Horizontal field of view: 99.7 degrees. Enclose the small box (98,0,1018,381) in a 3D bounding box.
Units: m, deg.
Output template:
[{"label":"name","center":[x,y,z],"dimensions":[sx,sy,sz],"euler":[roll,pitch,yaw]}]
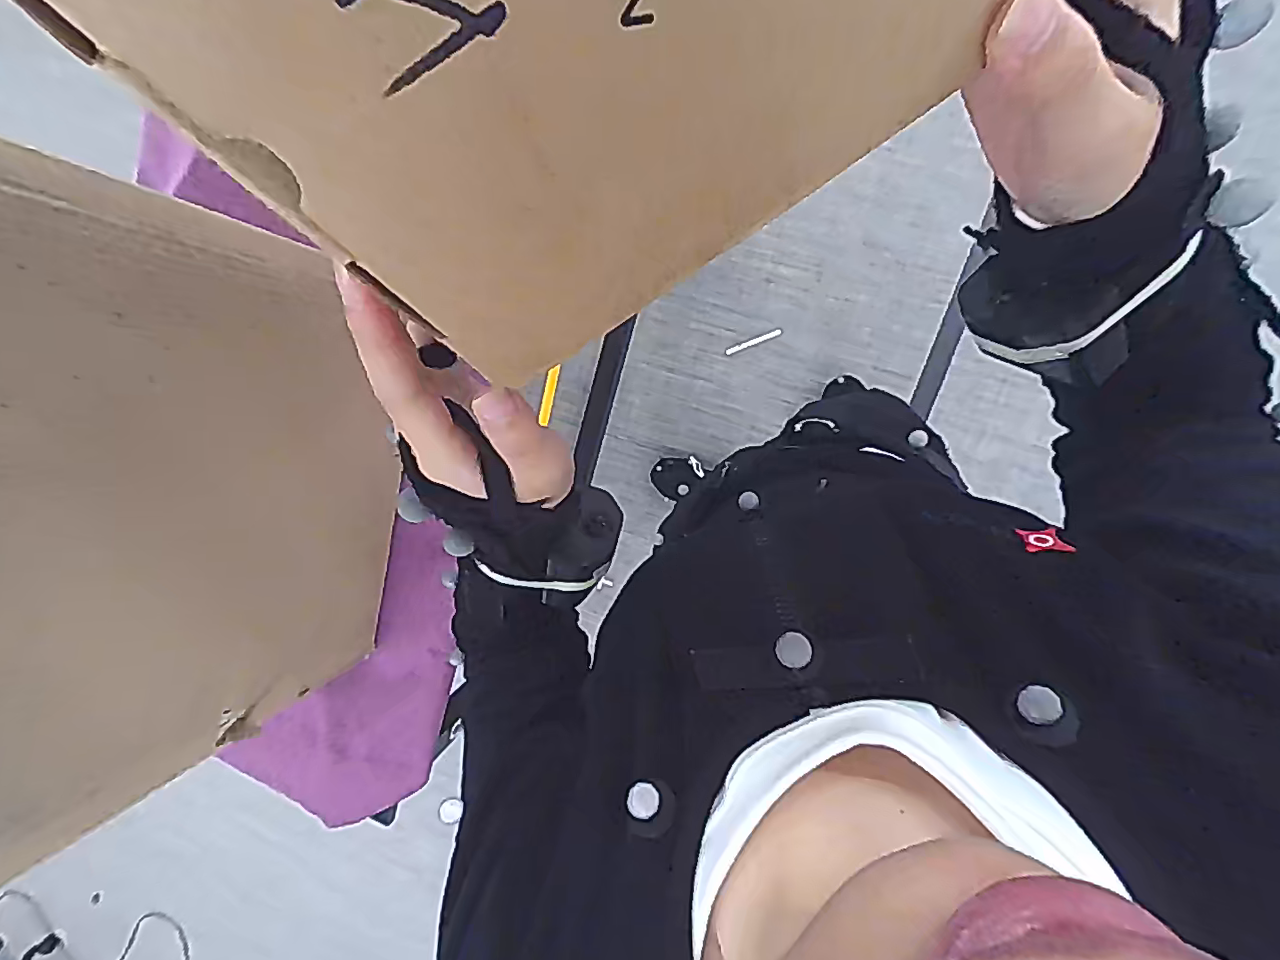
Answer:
[{"label":"small box","center":[-0.030,-0.167,0.132],"dimensions":[0.179,0.168,0.176],"euler":[-32,60,7]}]
